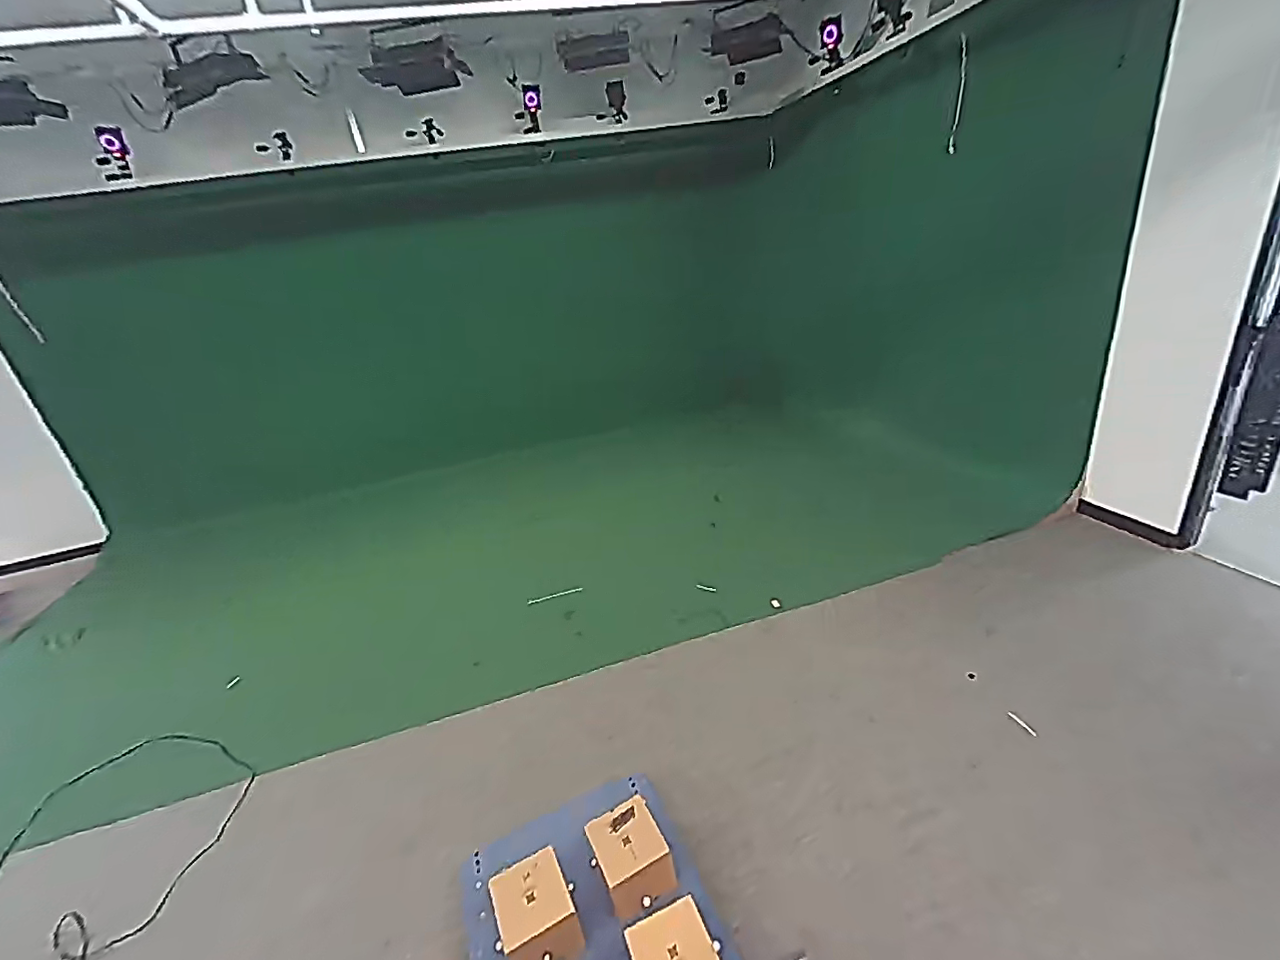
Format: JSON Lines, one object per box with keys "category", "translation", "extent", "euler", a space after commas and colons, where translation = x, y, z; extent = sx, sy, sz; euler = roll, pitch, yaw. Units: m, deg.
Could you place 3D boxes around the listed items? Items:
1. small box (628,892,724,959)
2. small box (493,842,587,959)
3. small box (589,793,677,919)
{"category": "small box", "translation": [0.087, 1.062, 1.172], "extent": [0.168, 0.176, 0.179], "euler": [-16, 25, -17]}
{"category": "small box", "translation": [-0.241, 1.047, 1.313], "extent": [0.168, 0.176, 0.179], "euler": [-18, 25, -21]}
{"category": "small box", "translation": [-0.018, 0.972, 1.404], "extent": [0.168, 0.176, 0.179], "euler": [-19, 27, -20]}
